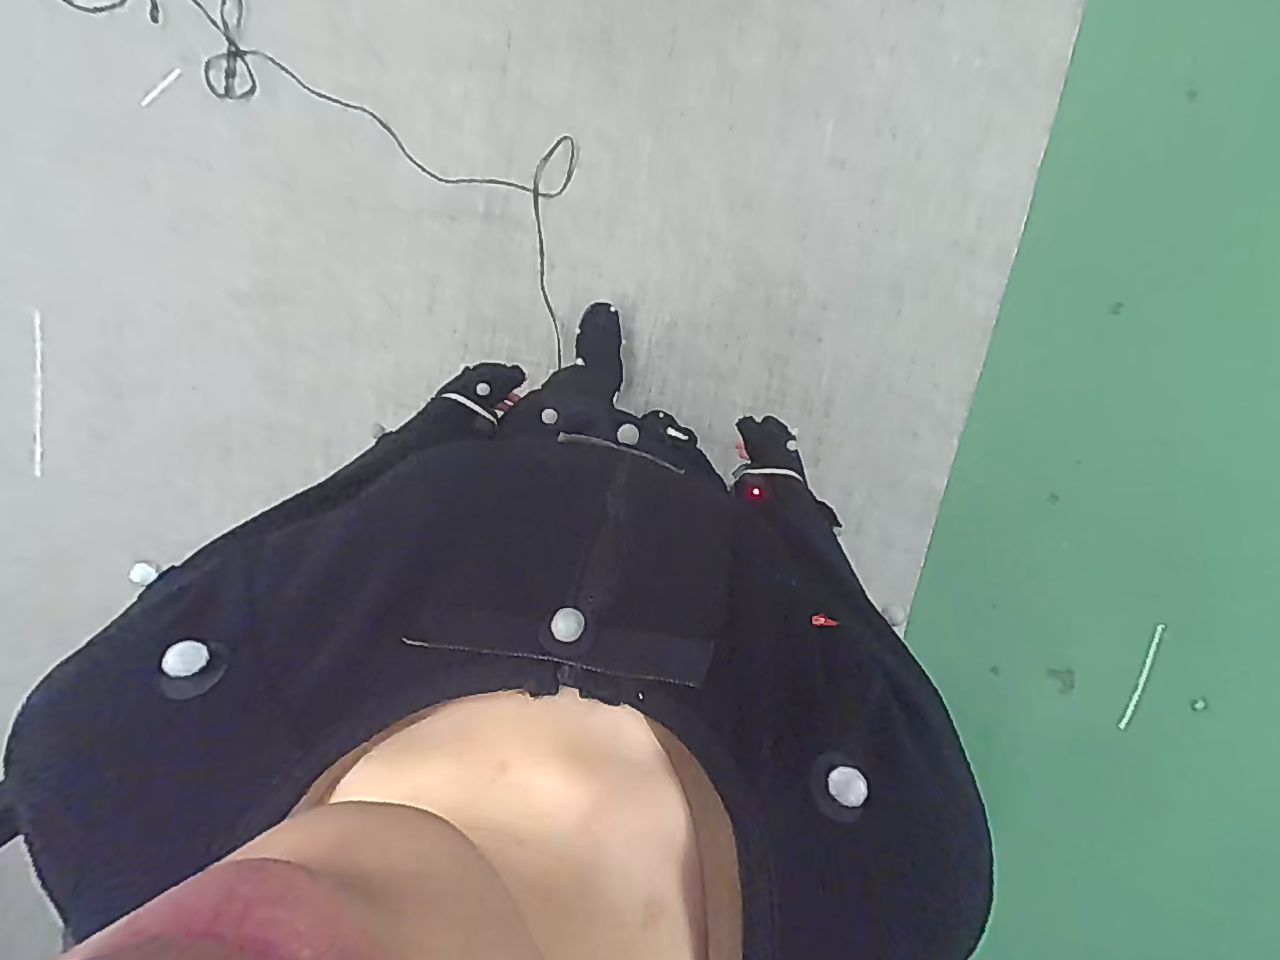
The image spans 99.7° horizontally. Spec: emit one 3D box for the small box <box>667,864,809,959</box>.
[{"bbox_3d":[0.128,0.683,0.751,0.168,0.176,0.179,10,100,2],"label":"small box"}]
